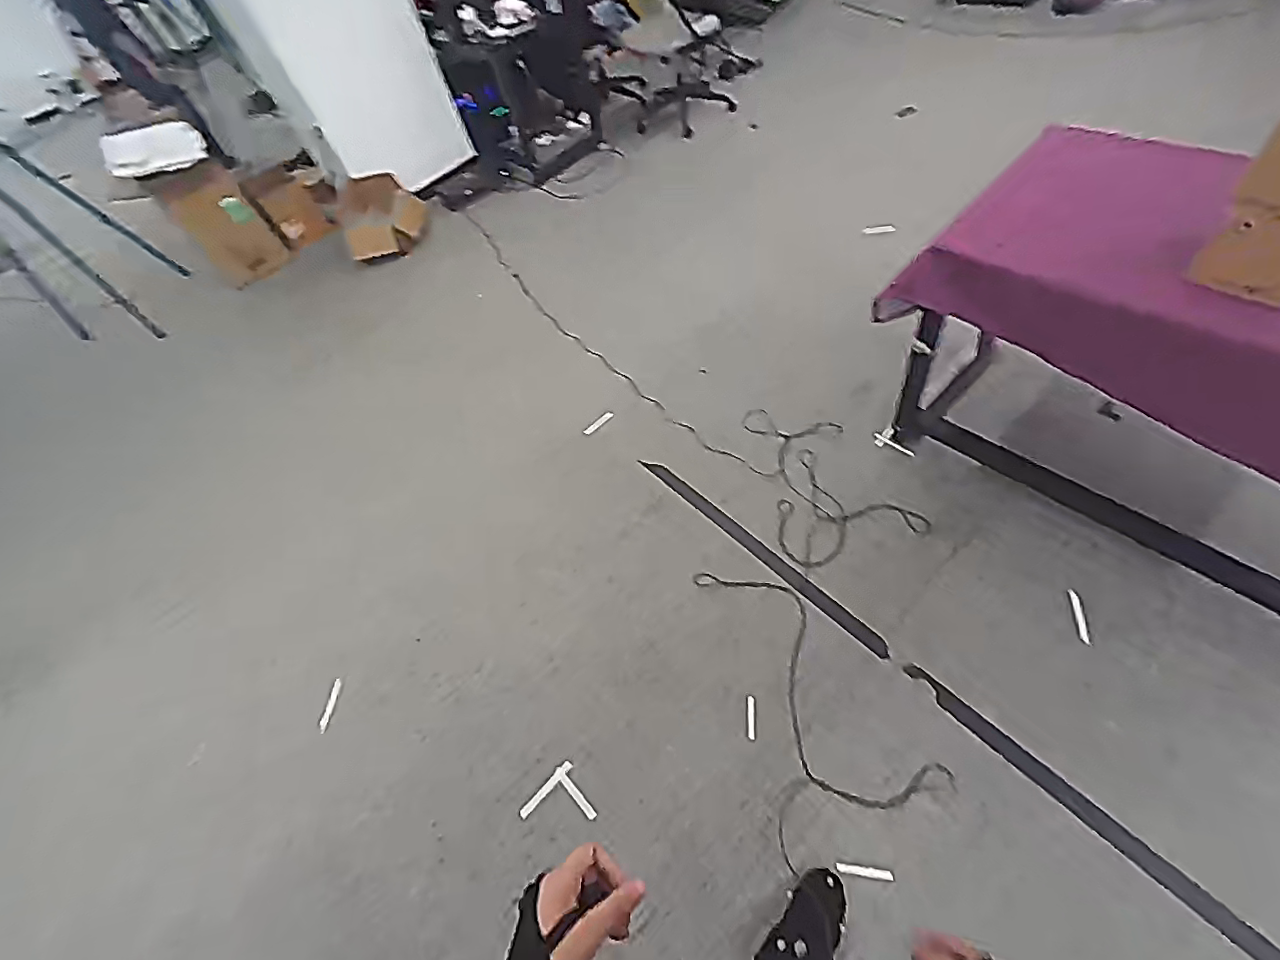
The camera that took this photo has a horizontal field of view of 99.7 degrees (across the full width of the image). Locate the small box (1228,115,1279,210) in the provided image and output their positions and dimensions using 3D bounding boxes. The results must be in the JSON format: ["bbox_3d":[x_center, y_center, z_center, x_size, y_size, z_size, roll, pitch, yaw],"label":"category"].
[{"bbox_3d":[1.114,-0.535,0.855,0.168,0.176,0.179,-39,56,-14],"label":"small box"}]
